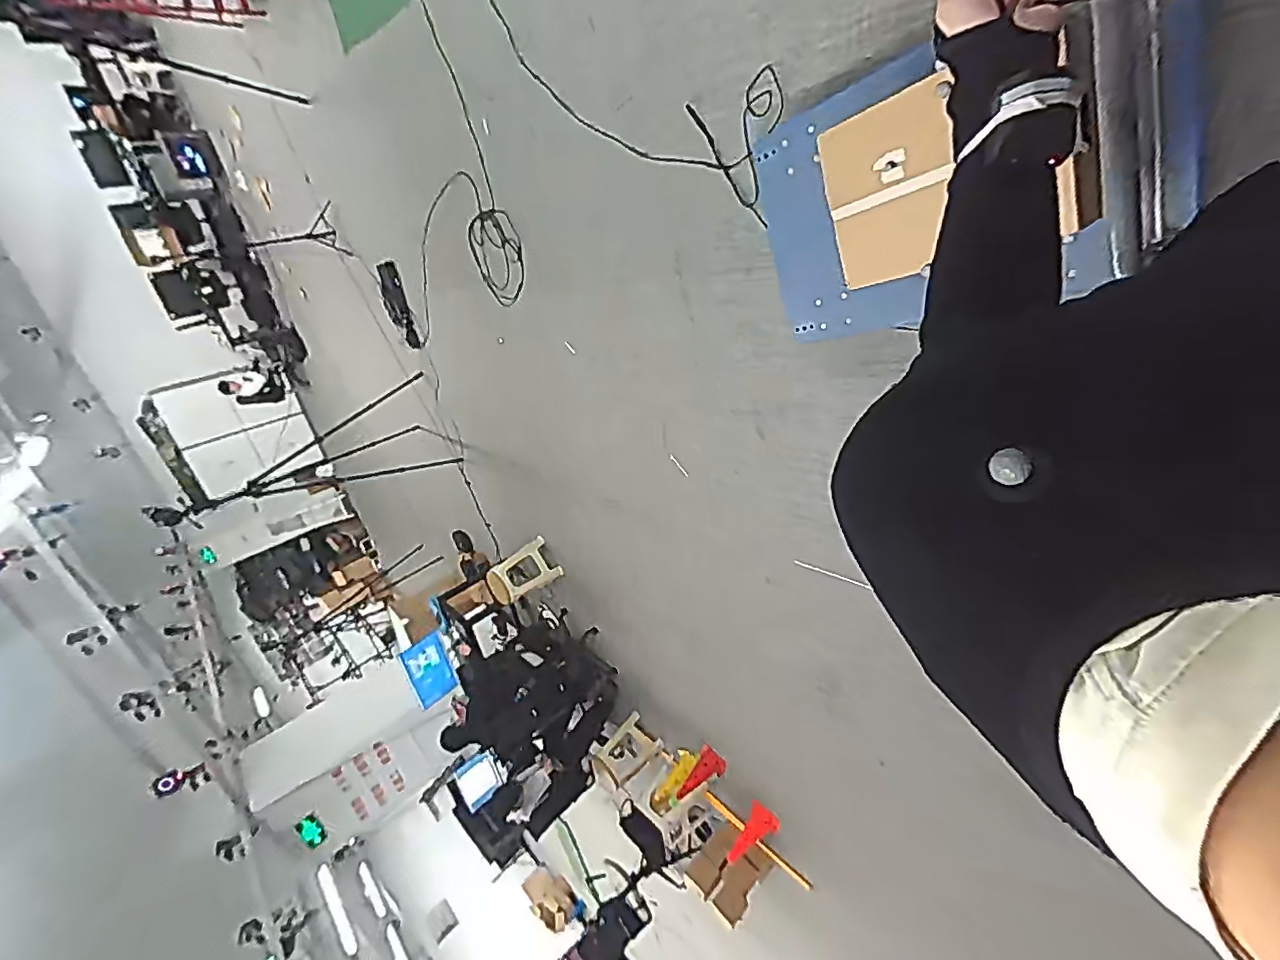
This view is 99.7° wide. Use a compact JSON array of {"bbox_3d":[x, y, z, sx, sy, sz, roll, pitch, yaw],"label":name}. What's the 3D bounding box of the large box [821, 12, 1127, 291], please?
[{"bbox_3d":[0.639,-0.603,1.048,0.408,0.320,0.320,3,117,52],"label":"large box"}]
